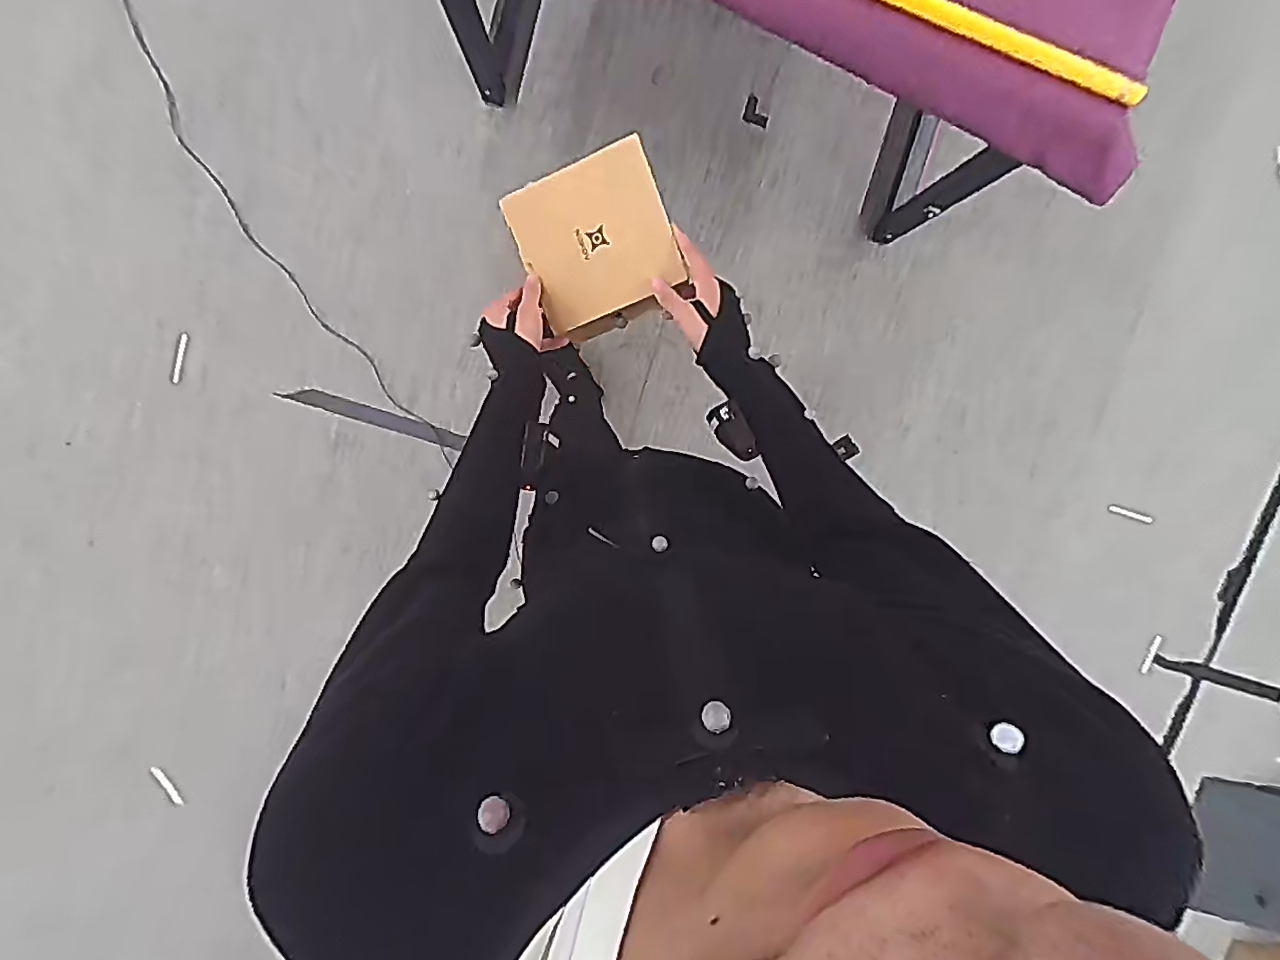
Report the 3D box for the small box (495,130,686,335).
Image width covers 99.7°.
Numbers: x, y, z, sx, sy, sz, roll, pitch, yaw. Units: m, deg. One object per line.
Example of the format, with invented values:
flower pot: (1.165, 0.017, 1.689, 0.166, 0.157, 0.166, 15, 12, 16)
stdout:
small box: (-0.049, -0.293, 0.684, 0.179, 0.176, 0.168, -20, 100, 11)
